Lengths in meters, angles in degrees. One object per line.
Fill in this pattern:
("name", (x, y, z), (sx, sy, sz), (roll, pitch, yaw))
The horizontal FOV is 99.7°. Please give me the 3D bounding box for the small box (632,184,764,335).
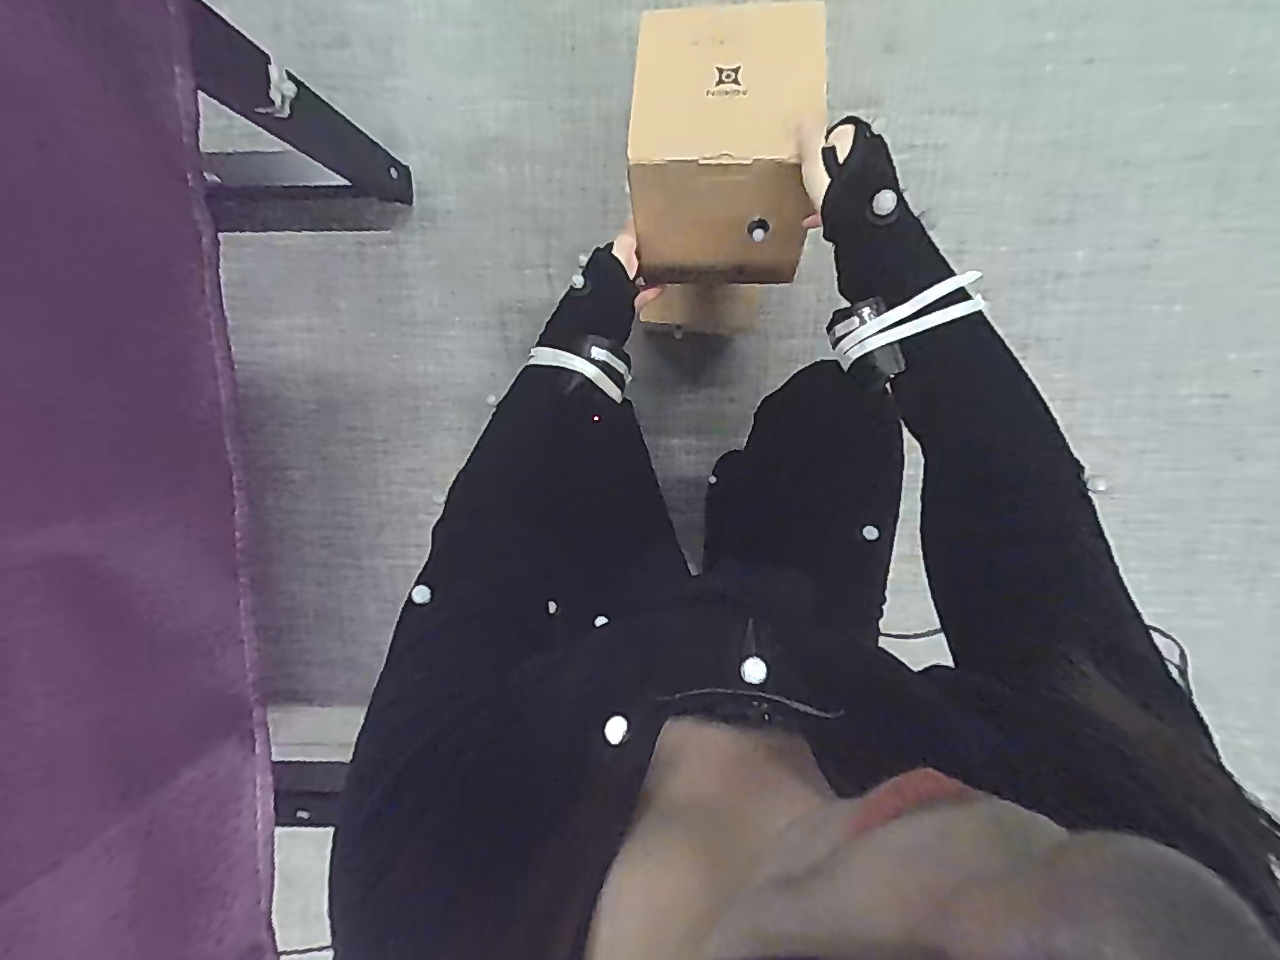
("small box", (0.079, -0.318, 0.815), (0.168, 0.176, 0.179), (4, 100, -1))
